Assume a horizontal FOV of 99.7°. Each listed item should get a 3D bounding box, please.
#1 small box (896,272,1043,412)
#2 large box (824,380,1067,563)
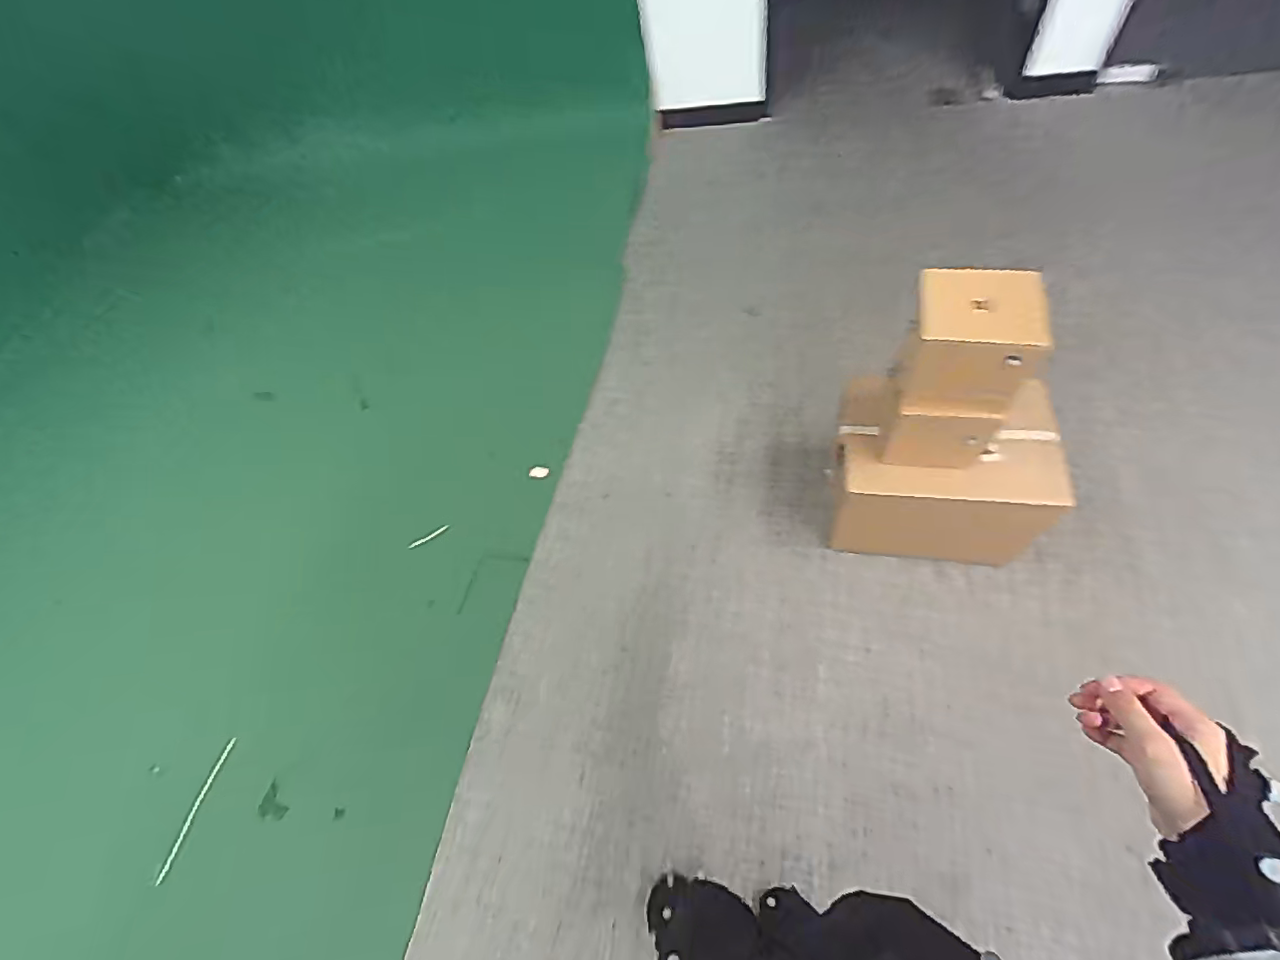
[{"bbox_3d":[0.550,-0.234,0.931,0.179,0.176,0.168,7,61,15],"label":"small box"},{"bbox_3d":[0.660,-0.016,1.259,0.408,0.320,0.320,3,61,13],"label":"large box"}]
